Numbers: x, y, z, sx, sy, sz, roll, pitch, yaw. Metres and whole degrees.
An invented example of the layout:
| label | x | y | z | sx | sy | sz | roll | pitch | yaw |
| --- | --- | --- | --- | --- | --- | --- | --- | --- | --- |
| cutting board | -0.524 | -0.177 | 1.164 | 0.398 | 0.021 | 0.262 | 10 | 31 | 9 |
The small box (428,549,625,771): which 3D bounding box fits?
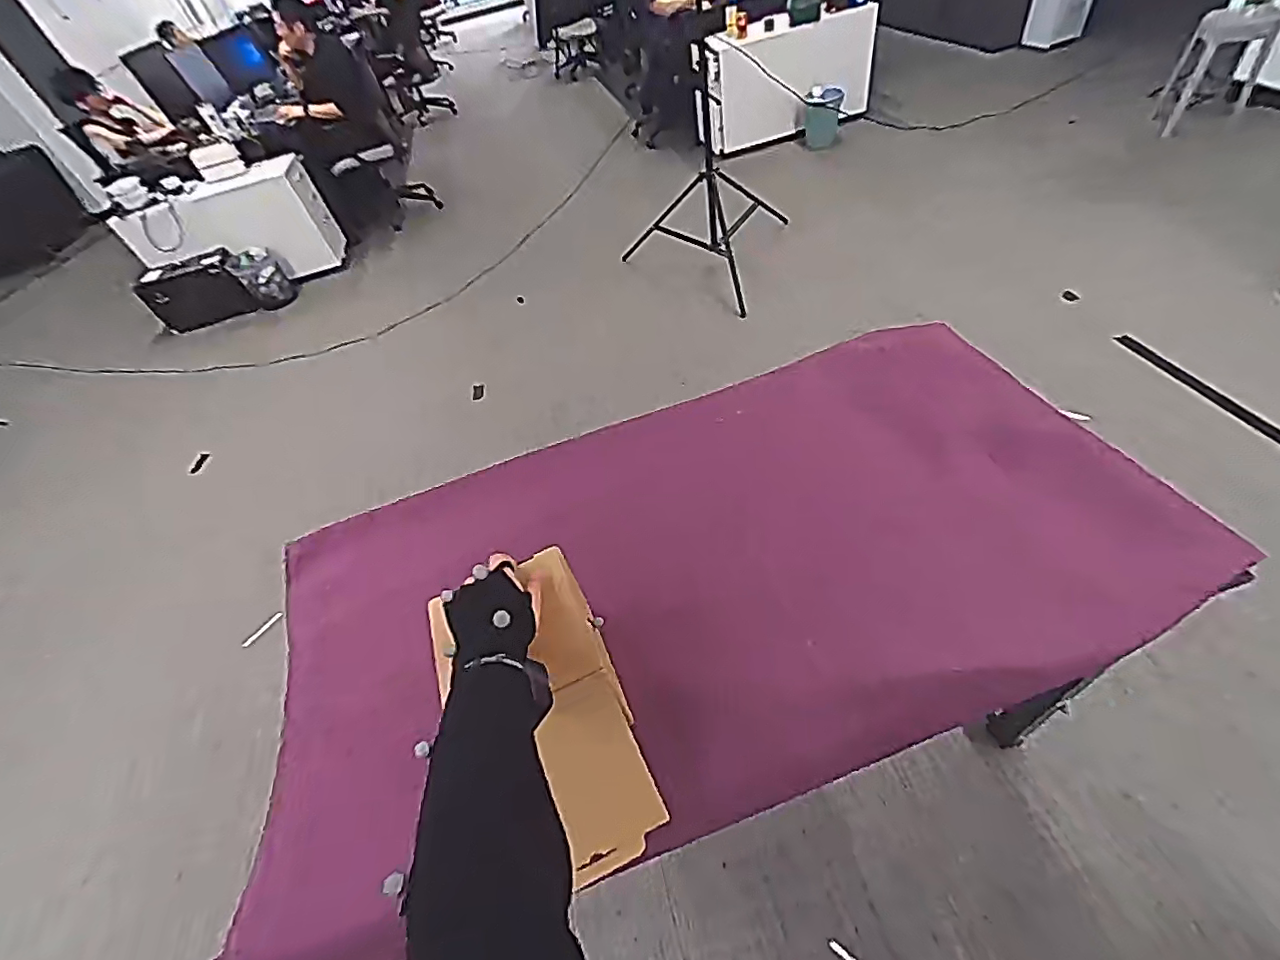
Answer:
| label | x | y | z | sx | sy | sz | roll | pitch | yaw |
| --- | --- | --- | --- | --- | --- | --- | --- | --- | --- |
| small box | -0.131 | 0.221 | 0.647 | 0.168 | 0.176 | 0.179 | -23 | 47 | -8 |
